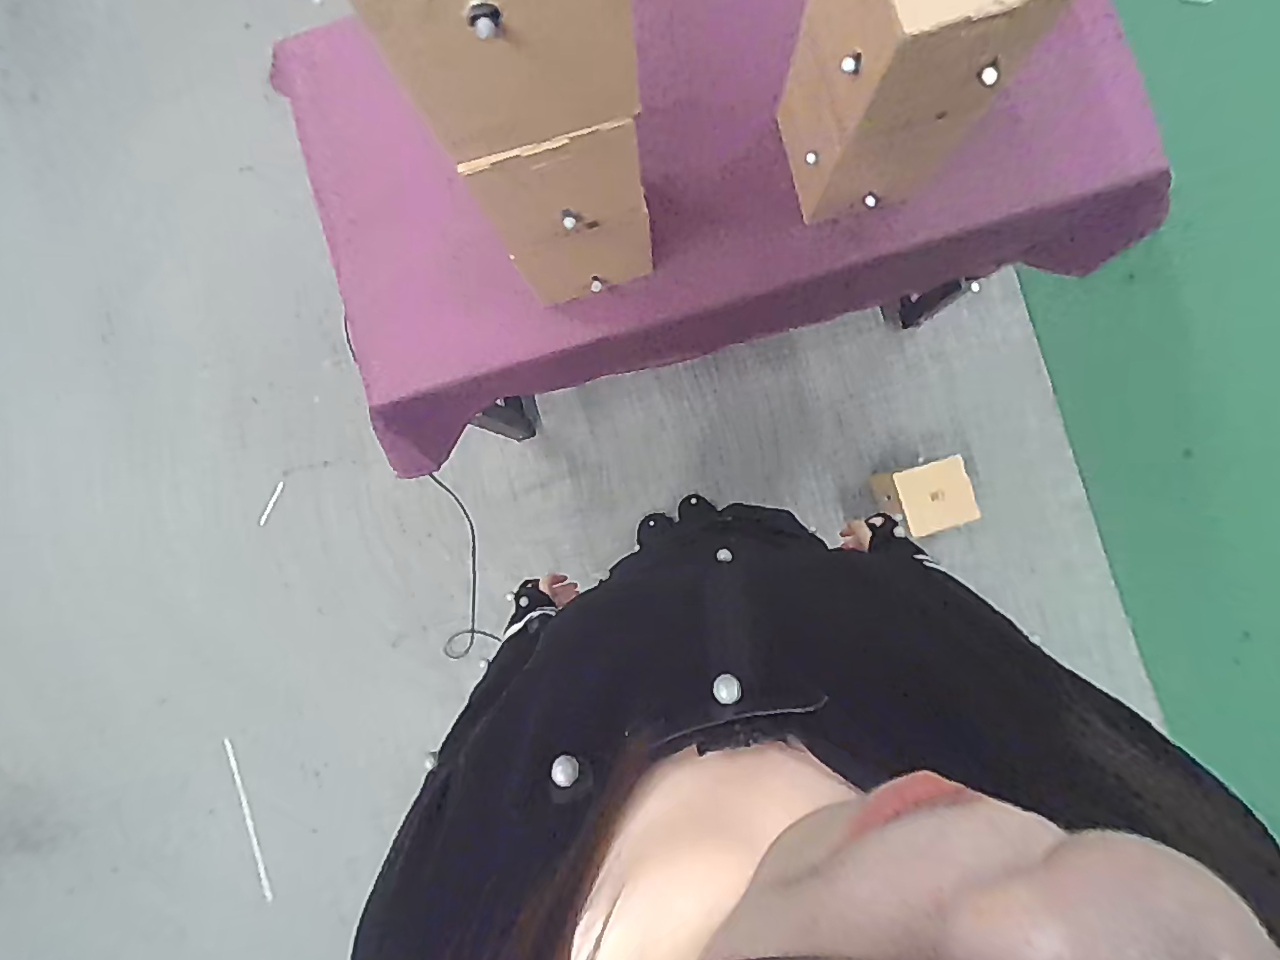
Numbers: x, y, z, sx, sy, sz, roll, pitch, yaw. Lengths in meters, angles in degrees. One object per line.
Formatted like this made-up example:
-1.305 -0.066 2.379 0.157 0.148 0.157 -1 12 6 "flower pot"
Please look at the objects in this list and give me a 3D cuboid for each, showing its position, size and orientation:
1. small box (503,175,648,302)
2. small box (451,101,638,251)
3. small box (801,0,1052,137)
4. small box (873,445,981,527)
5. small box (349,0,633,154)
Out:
-0.094 -0.367 0.732 0.179 0.176 0.168 -18 87 2 "small box"
-0.105 -0.377 0.566 0.168 0.176 0.179 -16 88 4 "small box"
0.280 -0.487 0.547 0.168 0.176 0.179 -16 88 3 "small box"
0.730 0.019 1.403 0.179 0.176 0.168 -18 88 2 "small box"
-0.111 -0.384 0.402 0.179 0.176 0.168 -15 87 2 "small box"
